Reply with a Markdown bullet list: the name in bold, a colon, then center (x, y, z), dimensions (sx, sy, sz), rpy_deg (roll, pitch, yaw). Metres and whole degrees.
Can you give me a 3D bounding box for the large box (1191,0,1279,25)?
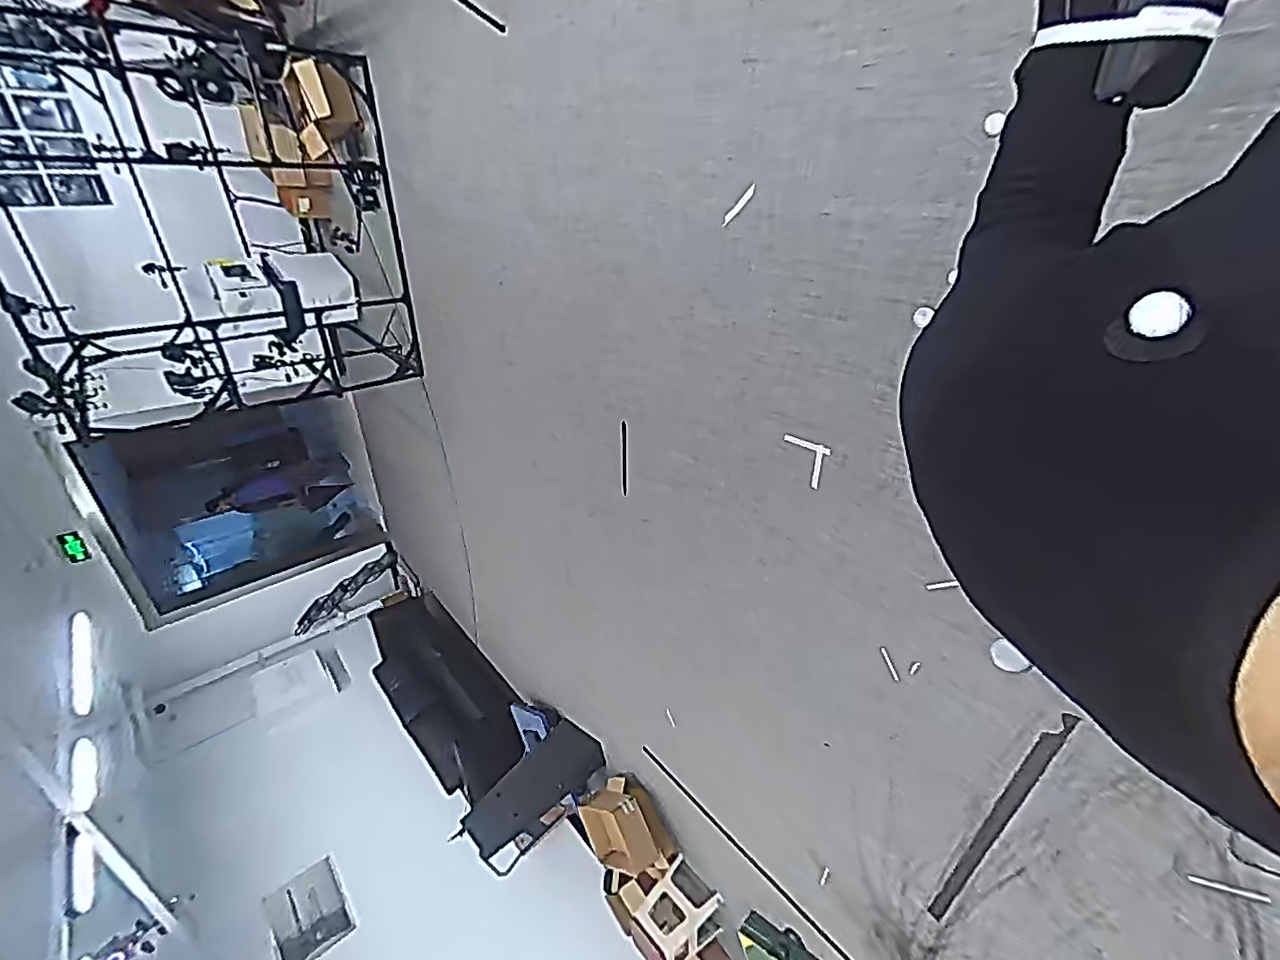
- **large box**: center (0.535, -0.433, 0.205), dimensions (0.408, 0.320, 0.320), rpy_deg (20, 131, 41)
